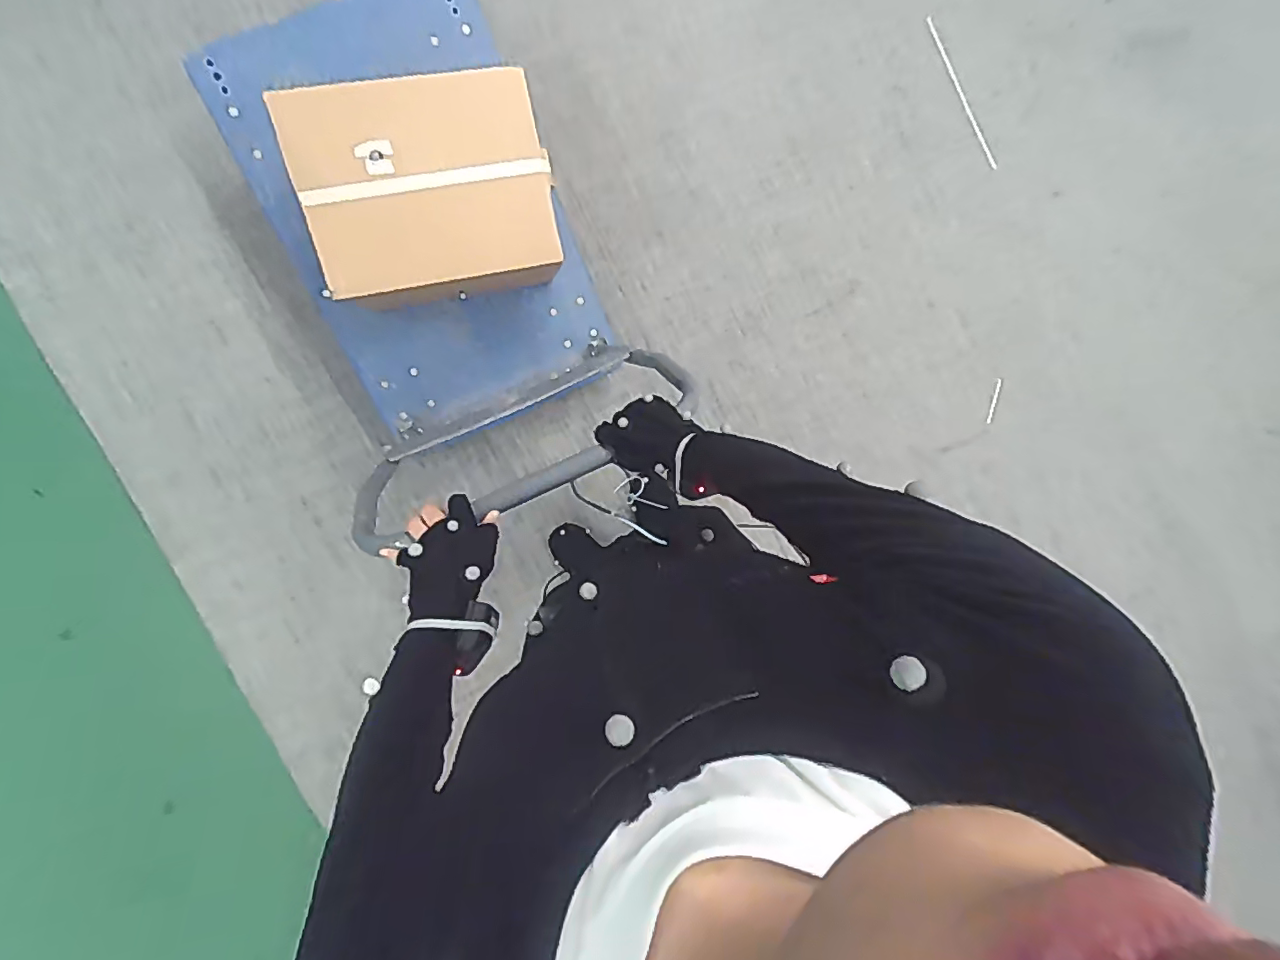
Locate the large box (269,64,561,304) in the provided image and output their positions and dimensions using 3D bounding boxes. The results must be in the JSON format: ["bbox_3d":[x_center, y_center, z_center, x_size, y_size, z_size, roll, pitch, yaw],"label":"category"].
[{"bbox_3d":[-0.391,-0.540,1.049,0.408,0.320,0.320,-13,107,-9],"label":"large box"}]
